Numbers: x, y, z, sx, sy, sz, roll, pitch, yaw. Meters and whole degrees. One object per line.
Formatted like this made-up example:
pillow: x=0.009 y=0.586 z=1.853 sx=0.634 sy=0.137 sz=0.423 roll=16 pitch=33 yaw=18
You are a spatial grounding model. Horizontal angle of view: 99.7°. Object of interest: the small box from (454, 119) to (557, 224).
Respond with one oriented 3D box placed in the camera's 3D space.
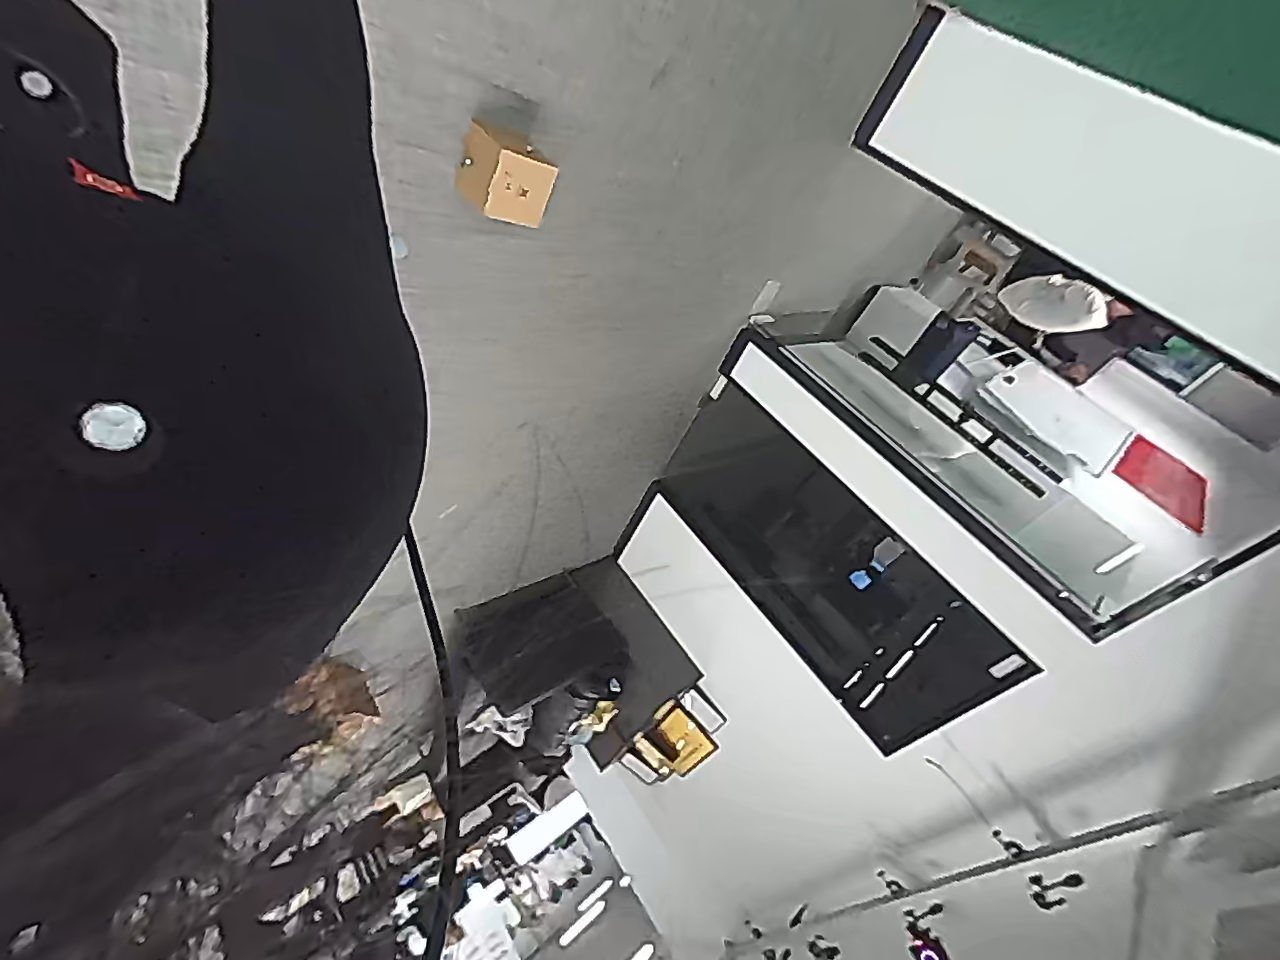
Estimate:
small box: x=-0.354 y=-0.806 z=1.415 sx=0.179 sy=0.176 sz=0.168 roll=-12 pitch=144 yaw=-47
